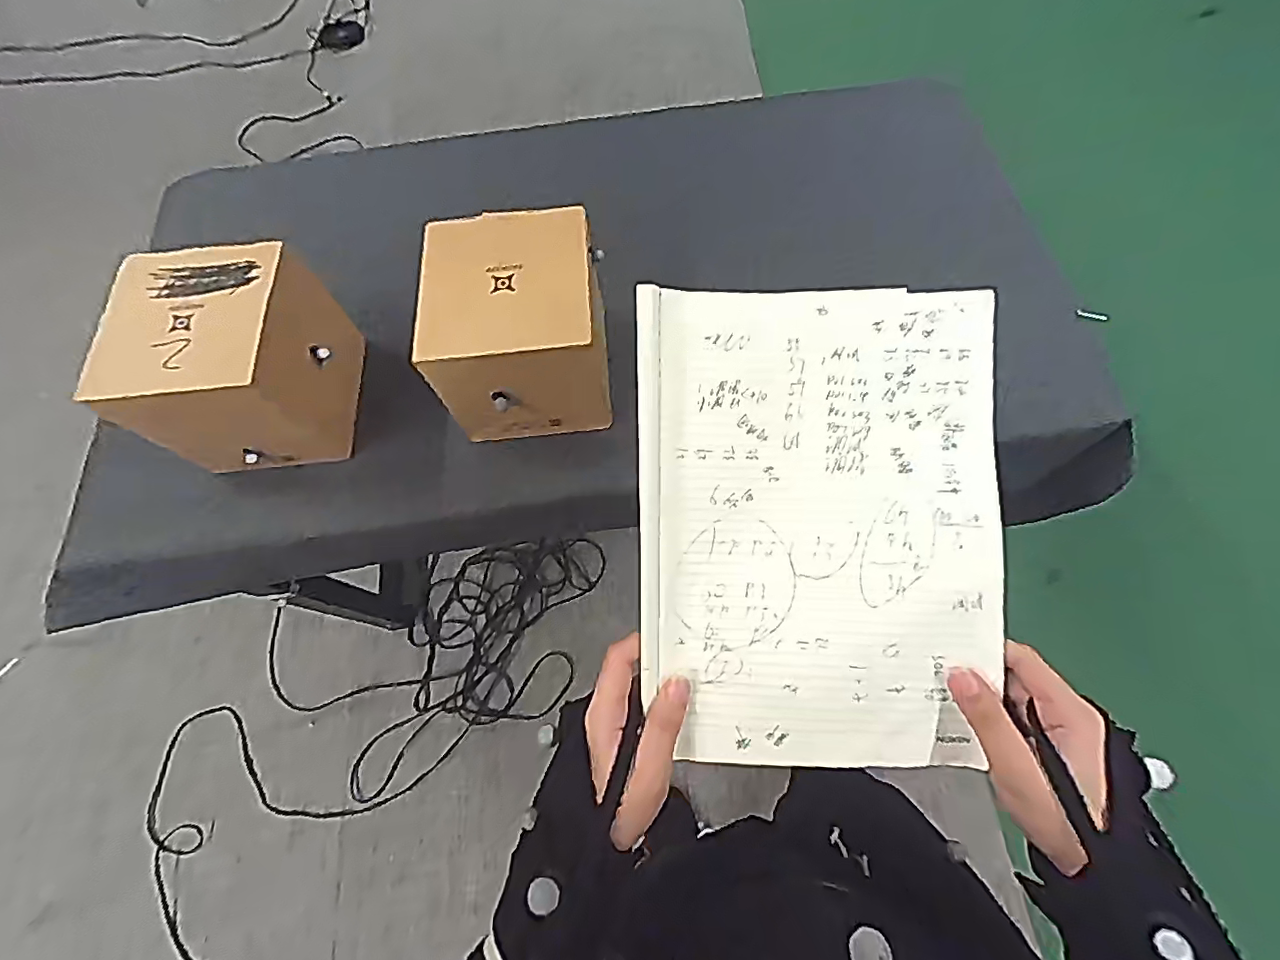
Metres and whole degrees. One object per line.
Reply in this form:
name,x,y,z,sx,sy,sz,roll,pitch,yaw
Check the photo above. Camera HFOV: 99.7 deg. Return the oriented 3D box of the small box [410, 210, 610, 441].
small box,-0.126,-0.153,0.586,0.168,0.176,0.179,-6,66,1
